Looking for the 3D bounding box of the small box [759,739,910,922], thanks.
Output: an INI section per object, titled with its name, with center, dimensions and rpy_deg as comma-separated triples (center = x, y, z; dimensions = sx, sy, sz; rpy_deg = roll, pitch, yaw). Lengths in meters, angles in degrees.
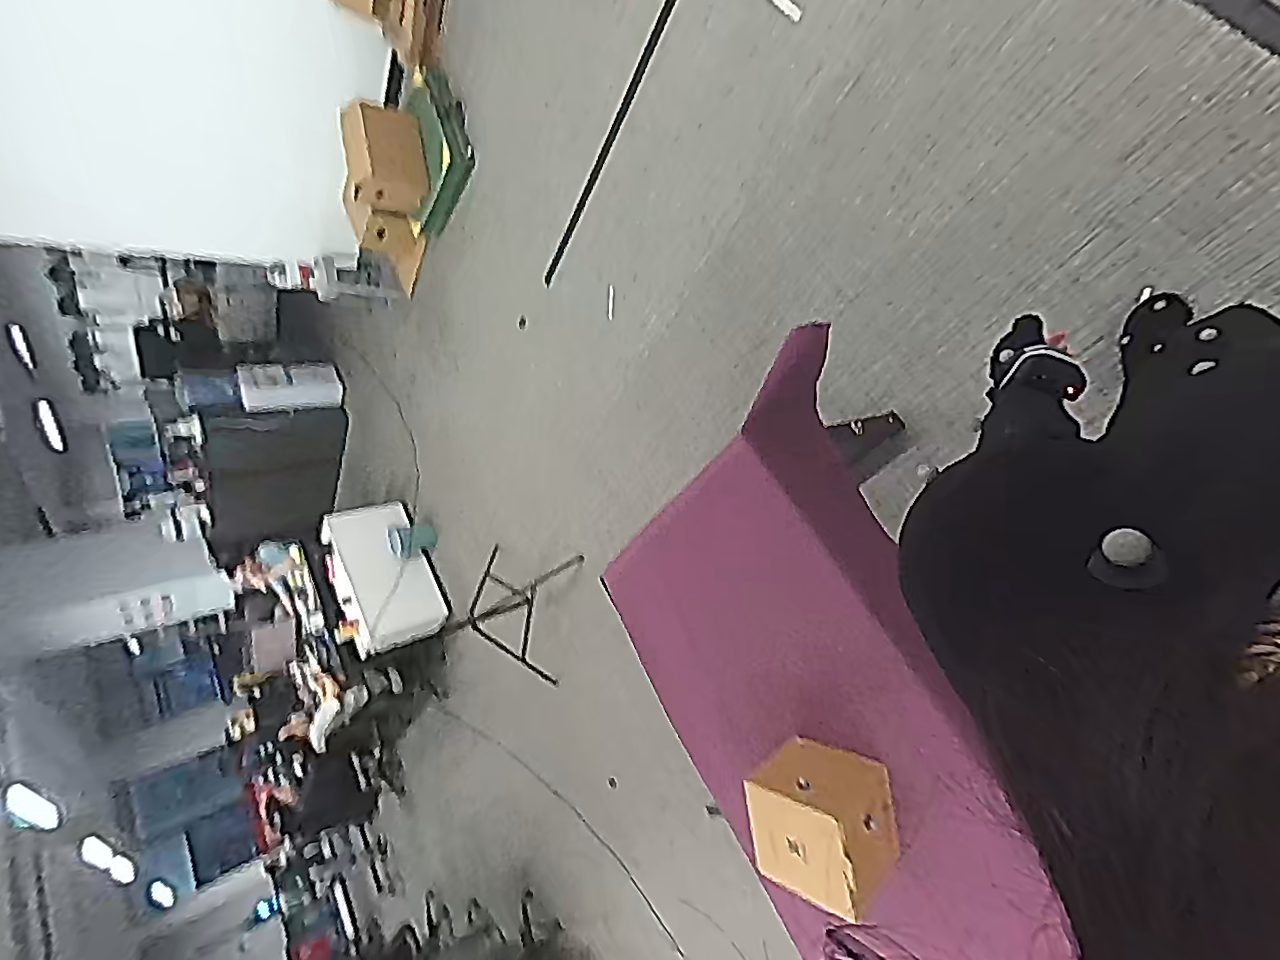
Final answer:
[small box]
center = 0.331, 0.566, 0.907
dimensions = 0.179, 0.176, 0.168
rpy_deg = -7, 93, 50
